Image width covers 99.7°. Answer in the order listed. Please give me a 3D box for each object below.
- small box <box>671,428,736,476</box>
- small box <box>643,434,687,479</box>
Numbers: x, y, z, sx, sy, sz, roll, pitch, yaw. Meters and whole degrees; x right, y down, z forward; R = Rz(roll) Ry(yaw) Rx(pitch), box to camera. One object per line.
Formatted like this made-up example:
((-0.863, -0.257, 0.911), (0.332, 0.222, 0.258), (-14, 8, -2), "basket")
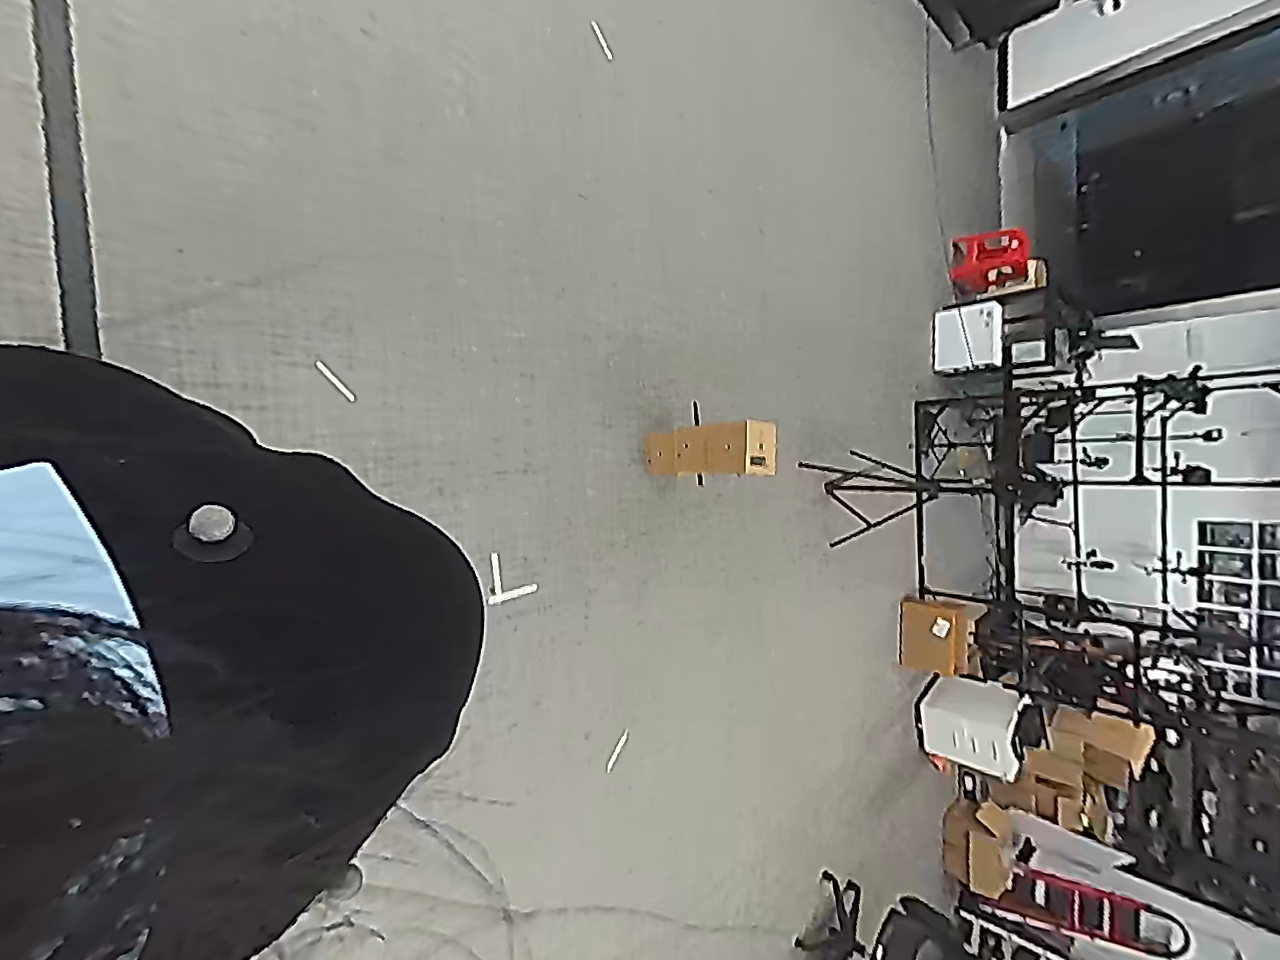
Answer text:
((0.233, -0.098, 1.986), (0.179, 0.176, 0.168), (1, 90, -43), "small box")
((0.125, -0.094, 2.108), (0.179, 0.176, 0.168), (-9, 97, -44), "small box")
